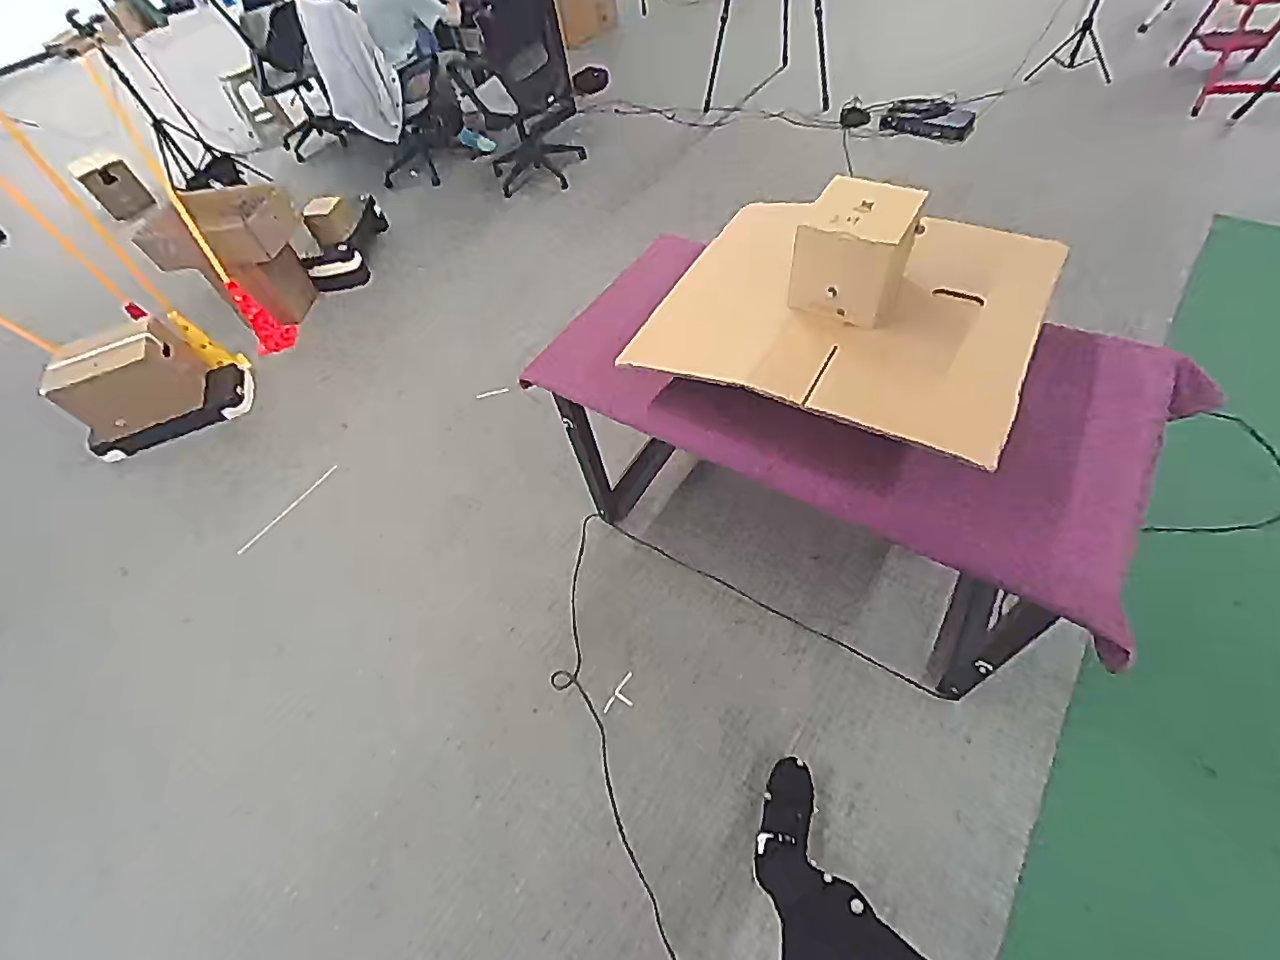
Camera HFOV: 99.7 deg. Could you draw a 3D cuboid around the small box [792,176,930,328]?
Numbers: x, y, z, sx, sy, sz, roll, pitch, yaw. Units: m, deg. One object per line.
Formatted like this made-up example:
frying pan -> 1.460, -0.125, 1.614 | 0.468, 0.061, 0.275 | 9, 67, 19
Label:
small box -> 0.389, -0.410, 0.978 | 0.168, 0.176, 0.179 | 25, 63, 23
